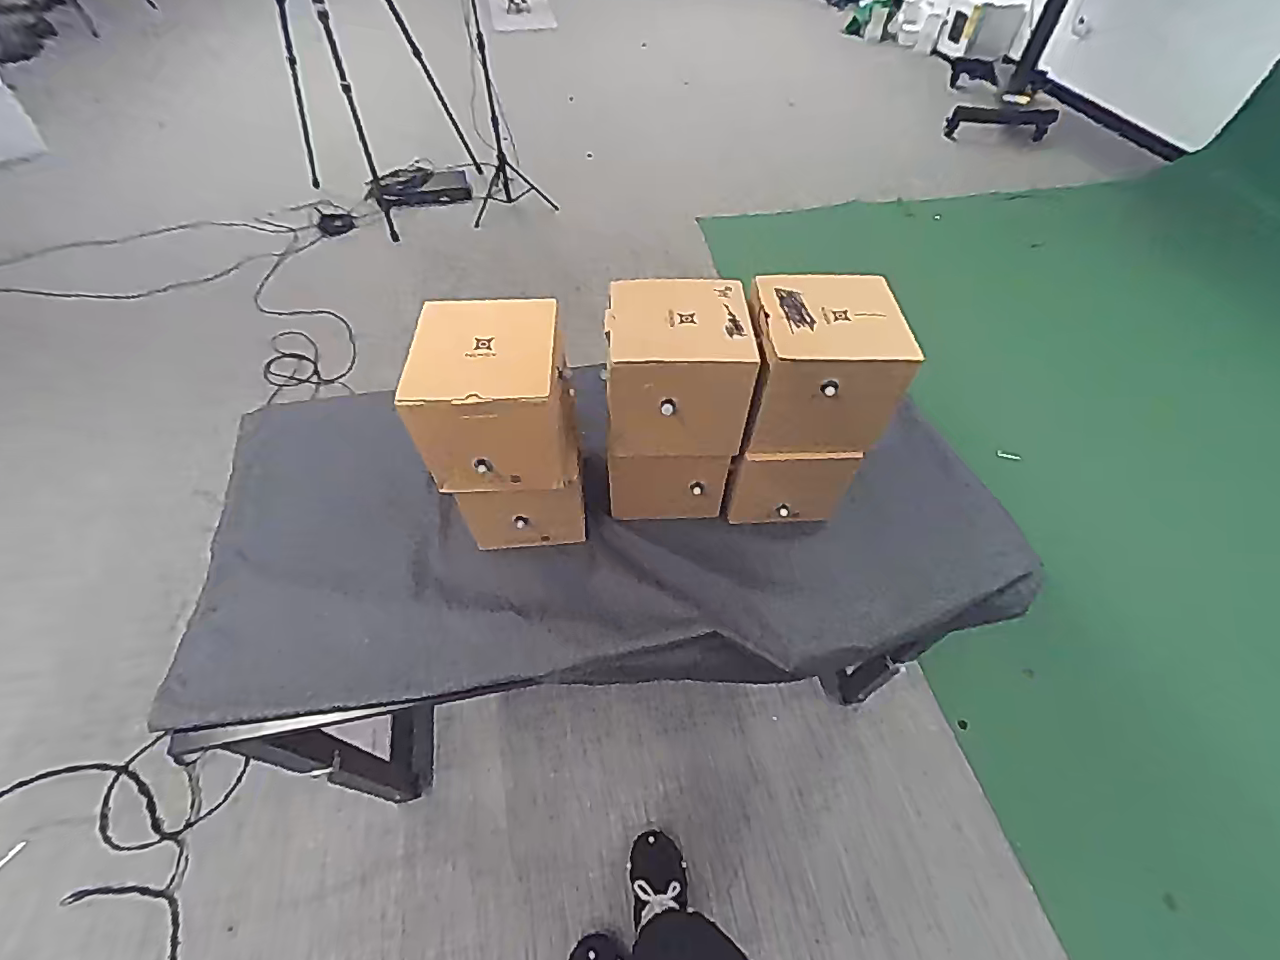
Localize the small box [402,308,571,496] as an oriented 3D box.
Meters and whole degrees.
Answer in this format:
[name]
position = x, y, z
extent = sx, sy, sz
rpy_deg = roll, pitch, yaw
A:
[small box]
position = -0.180, -0.098, 0.697
extent = 0.168, 0.176, 0.179
rpy_deg = -2, 55, -2
